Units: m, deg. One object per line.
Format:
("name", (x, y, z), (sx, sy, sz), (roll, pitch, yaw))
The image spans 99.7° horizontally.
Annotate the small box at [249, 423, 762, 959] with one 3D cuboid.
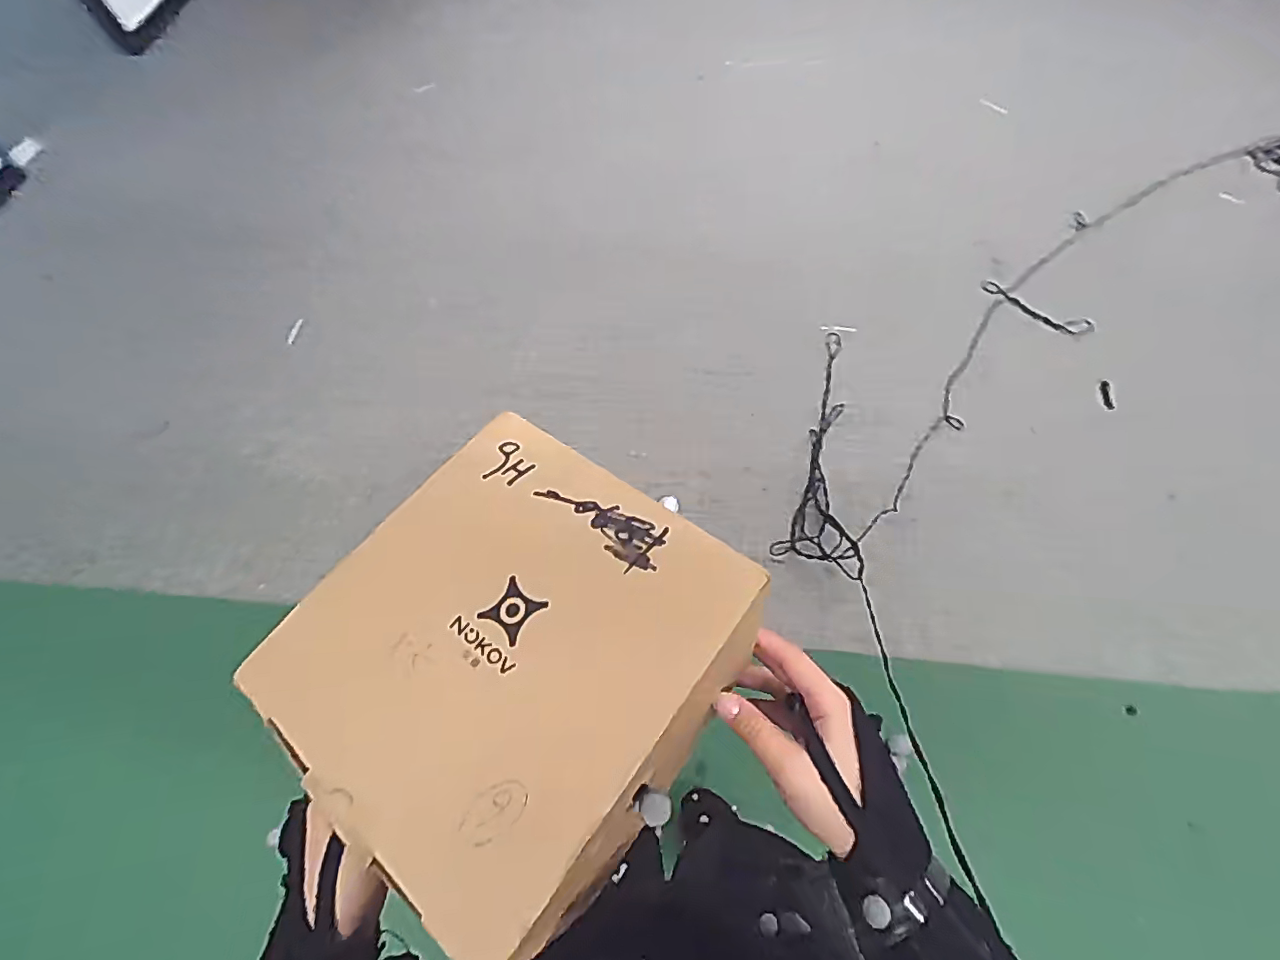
("small box", (-0.048, 0.109, 0.300), (0.168, 0.176, 0.179), (32, 69, 24))
